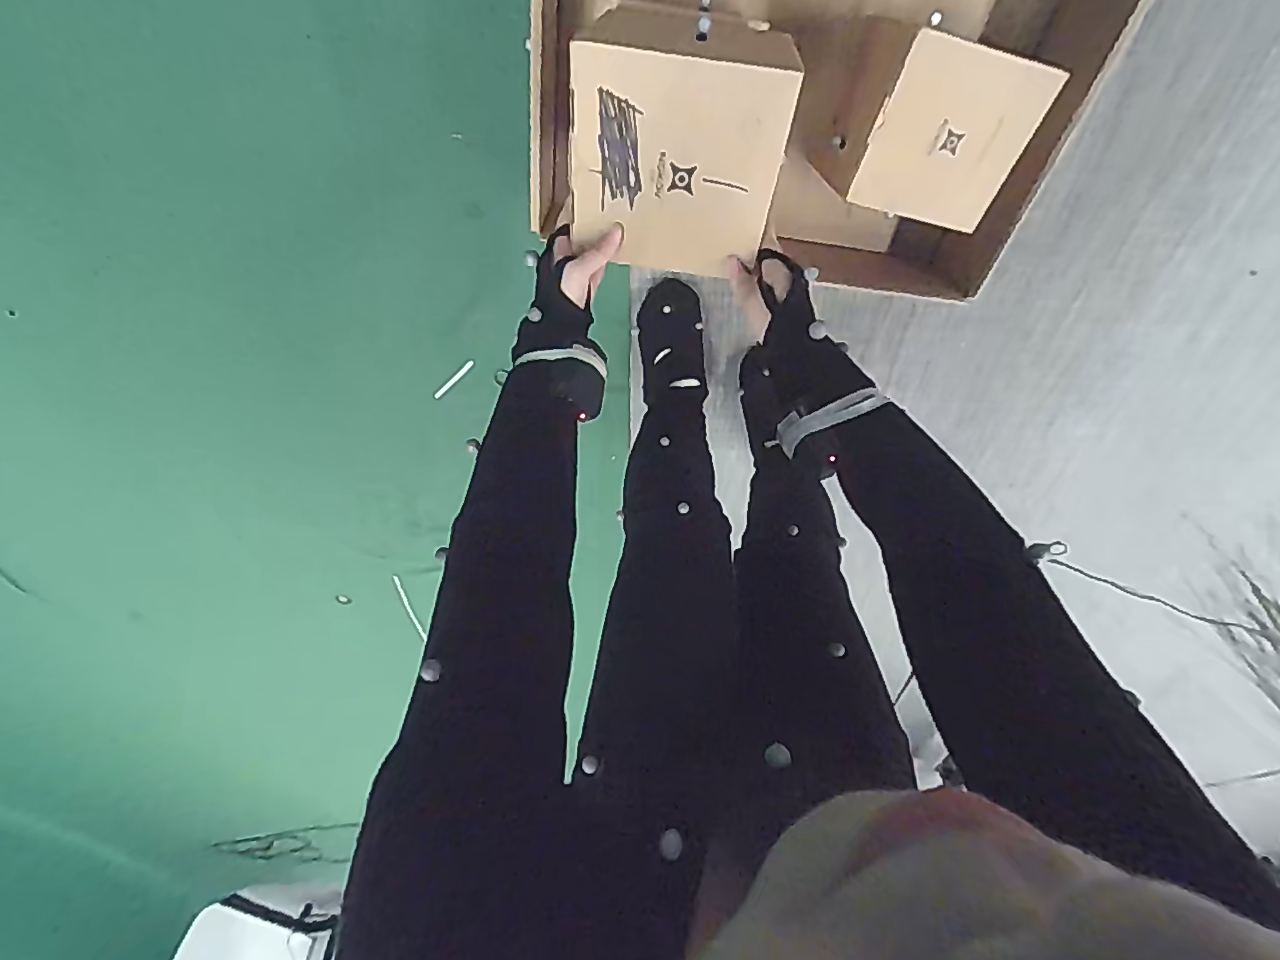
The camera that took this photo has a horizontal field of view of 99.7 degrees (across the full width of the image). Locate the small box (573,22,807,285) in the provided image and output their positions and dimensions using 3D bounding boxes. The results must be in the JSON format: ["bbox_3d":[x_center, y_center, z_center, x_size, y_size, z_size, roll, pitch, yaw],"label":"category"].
[{"bbox_3d":[0.040,-0.312,0.514,0.179,0.176,0.168,9,137,0],"label":"small box"}]
